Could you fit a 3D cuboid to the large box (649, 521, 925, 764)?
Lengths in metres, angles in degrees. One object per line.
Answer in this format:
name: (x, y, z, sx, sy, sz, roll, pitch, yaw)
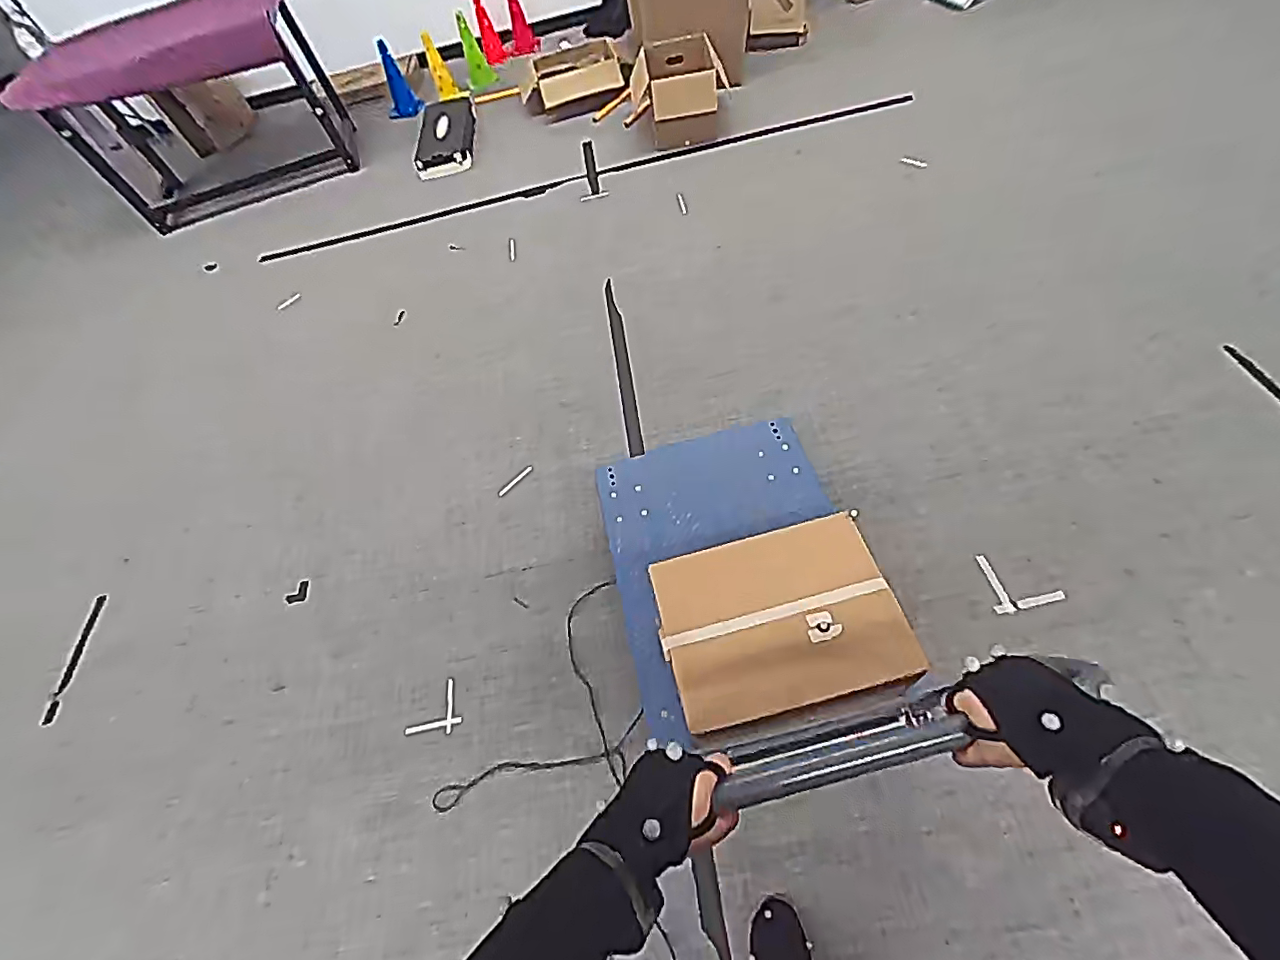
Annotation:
large box: (0.260, 0.333, 1.076, 0.408, 0.320, 0.320, -15, 57, 0)
